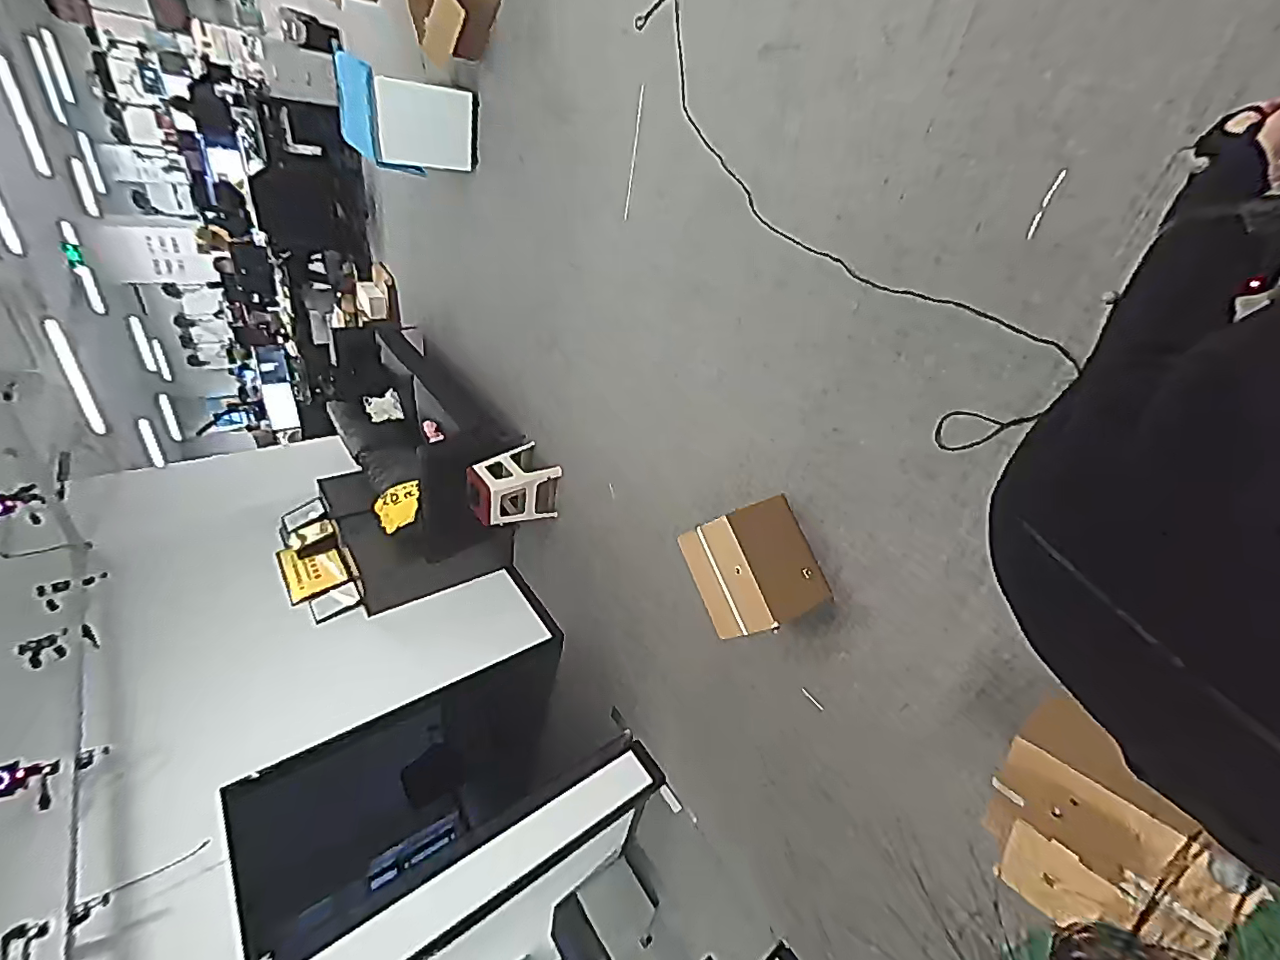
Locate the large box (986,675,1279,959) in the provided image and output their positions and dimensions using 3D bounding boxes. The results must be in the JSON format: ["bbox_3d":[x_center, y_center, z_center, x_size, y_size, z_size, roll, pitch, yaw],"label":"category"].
[{"bbox_3d":[1.093,0.728,1.224,0.408,0.320,0.320,27,126,45],"label":"large box"}]

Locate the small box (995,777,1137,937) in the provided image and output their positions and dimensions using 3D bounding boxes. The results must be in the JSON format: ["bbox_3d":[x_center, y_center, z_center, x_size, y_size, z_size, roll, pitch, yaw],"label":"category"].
[{"bbox_3d":[0.873,0.758,1.108,0.168,0.176,0.179,29,125,46],"label":"small box"}]
